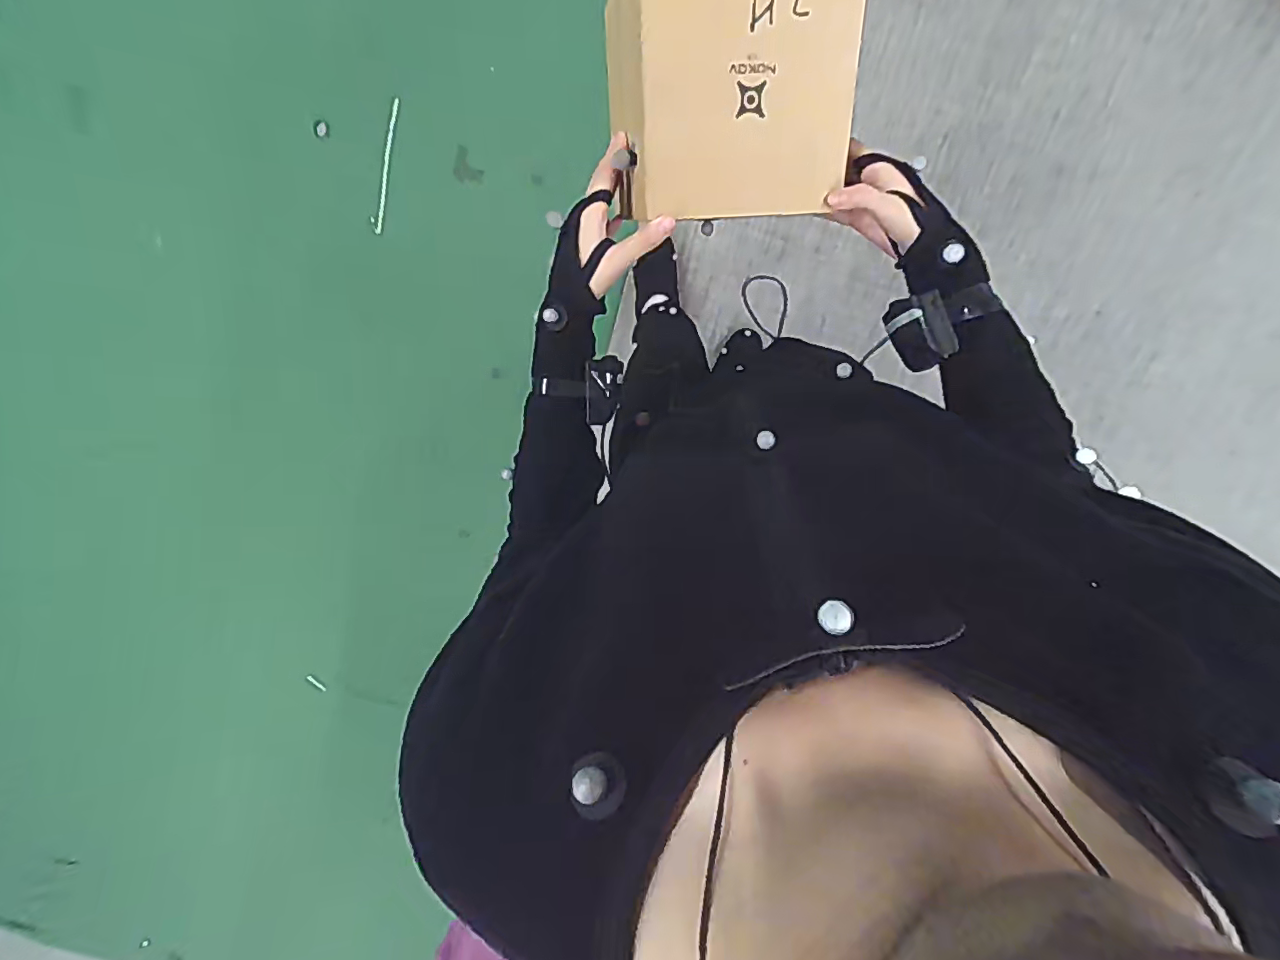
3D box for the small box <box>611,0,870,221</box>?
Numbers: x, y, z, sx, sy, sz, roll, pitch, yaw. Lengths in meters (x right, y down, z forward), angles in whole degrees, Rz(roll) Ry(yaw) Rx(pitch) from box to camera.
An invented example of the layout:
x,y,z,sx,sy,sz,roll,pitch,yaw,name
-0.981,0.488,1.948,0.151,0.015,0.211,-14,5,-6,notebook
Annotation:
x,y,z,sx,sy,sz,roll,pitch,yaw,name
0.069,-0.322,0.465,0.168,0.176,0.179,-6,115,-10,small box
